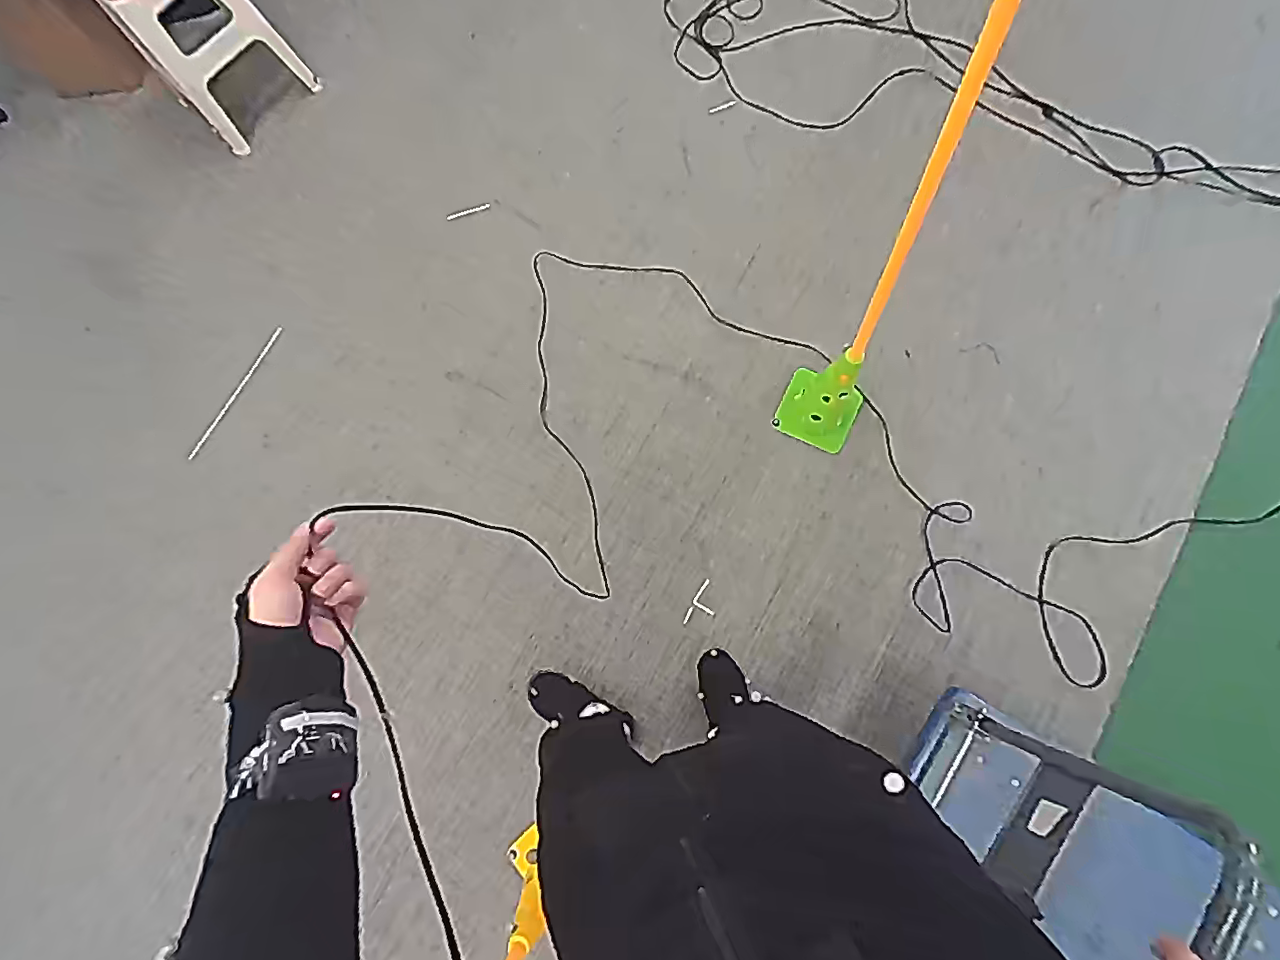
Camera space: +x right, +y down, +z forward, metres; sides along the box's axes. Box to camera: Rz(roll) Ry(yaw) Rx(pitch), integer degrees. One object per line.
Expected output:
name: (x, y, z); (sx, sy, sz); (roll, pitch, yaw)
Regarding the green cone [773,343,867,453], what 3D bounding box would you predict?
green cone: (0.481, -0.230, 1.332); (0.200, 0.368, 0.202); (25, 80, 9)
